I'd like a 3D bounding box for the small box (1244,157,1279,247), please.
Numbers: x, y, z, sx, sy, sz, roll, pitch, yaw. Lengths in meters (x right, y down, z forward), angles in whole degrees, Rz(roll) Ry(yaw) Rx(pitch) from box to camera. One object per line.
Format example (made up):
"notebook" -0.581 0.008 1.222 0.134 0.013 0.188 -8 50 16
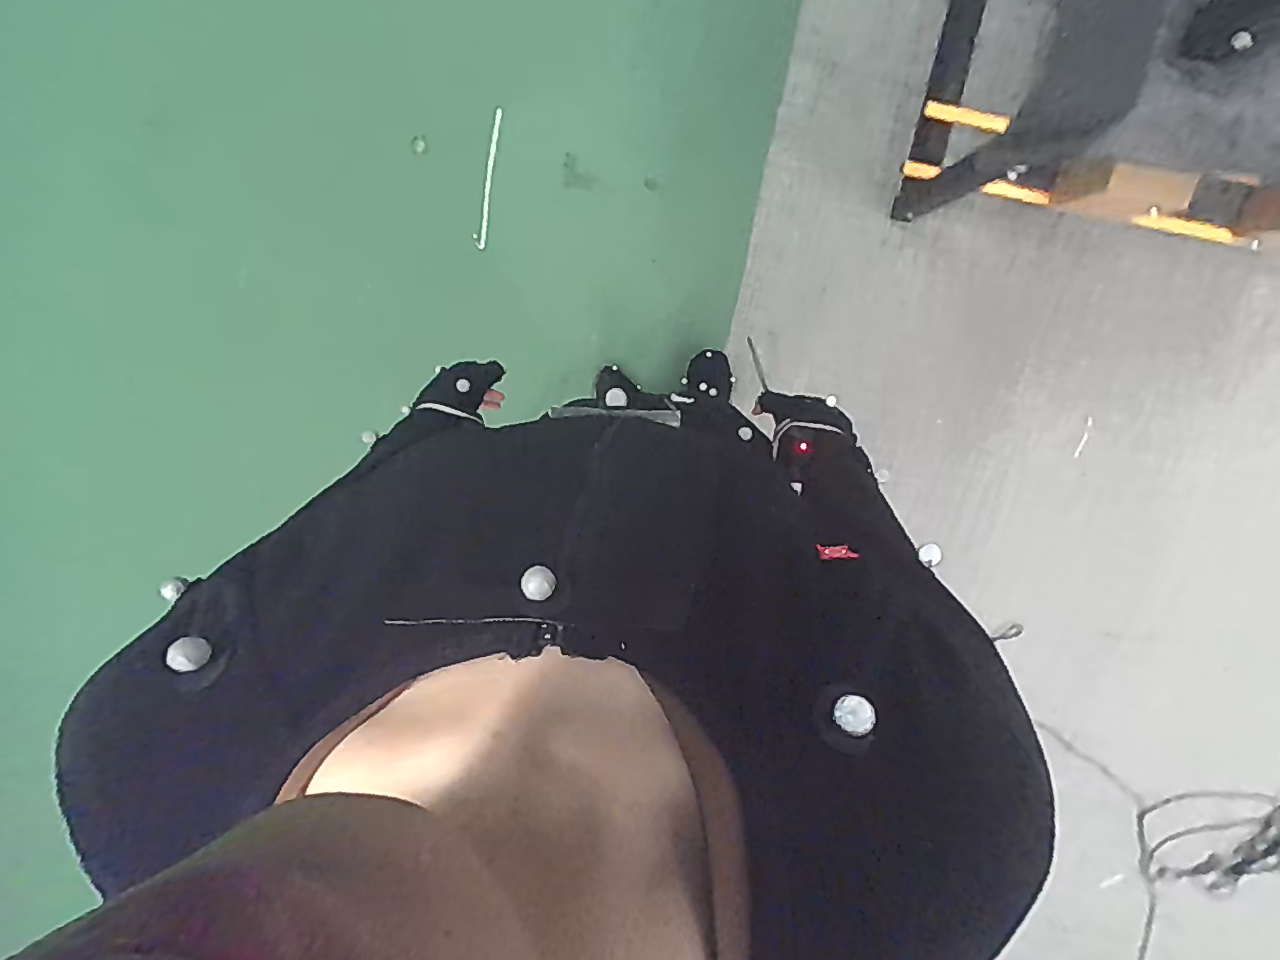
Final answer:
"small box" 1.432 -0.582 1.115 0.168 0.176 0.179 13 105 -2
